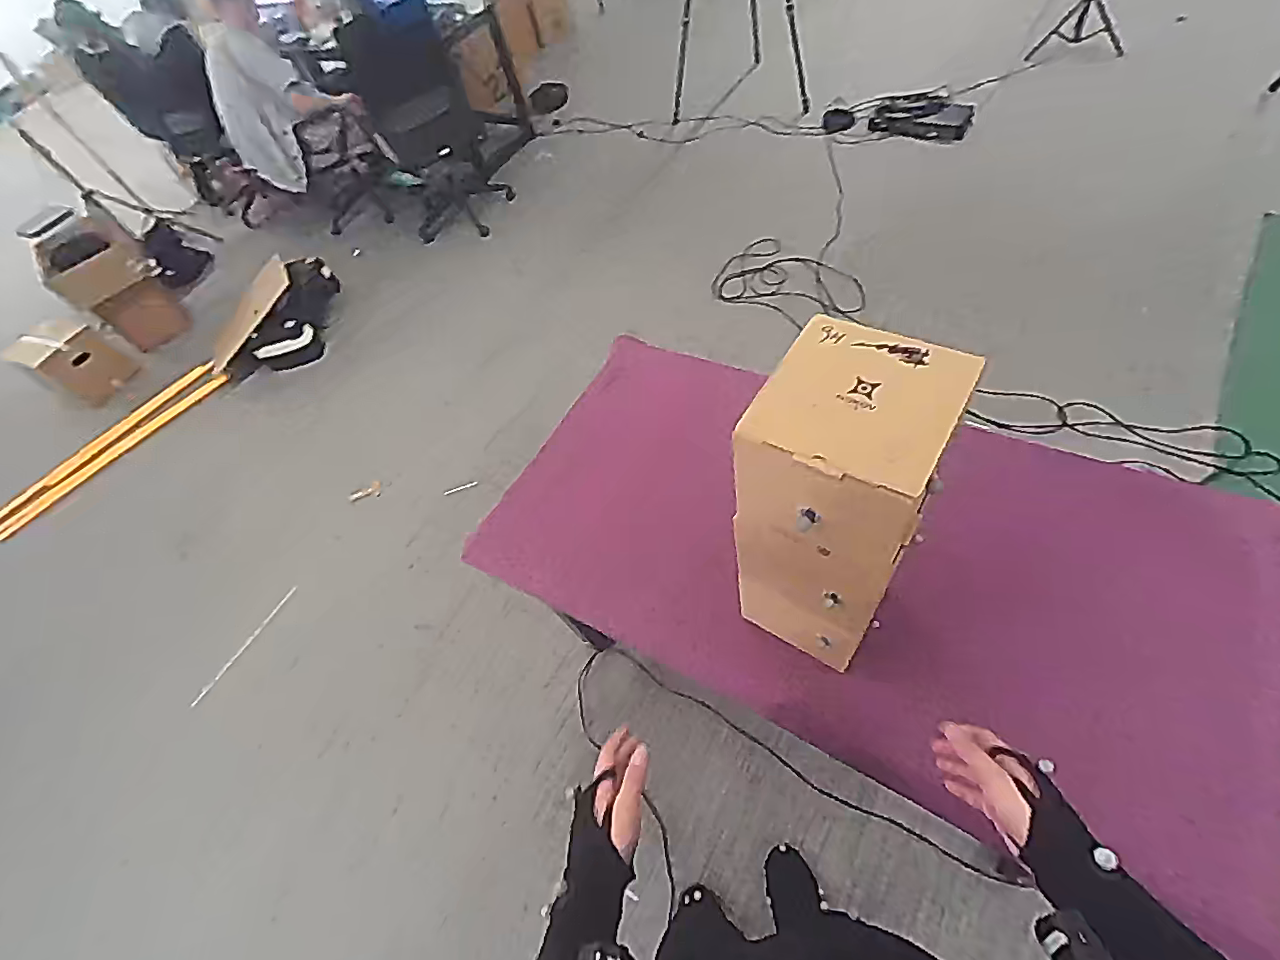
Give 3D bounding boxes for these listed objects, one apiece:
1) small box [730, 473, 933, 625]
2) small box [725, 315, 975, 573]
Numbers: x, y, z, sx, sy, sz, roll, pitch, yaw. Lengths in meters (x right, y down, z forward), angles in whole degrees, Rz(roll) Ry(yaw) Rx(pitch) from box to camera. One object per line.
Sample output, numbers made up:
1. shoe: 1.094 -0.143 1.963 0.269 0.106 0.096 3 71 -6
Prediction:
1. small box: 0.234 0.063 0.687 0.179 0.176 0.168 25 66 27
2. small box: 0.206 -0.032 0.557 0.168 0.176 0.179 26 66 26
